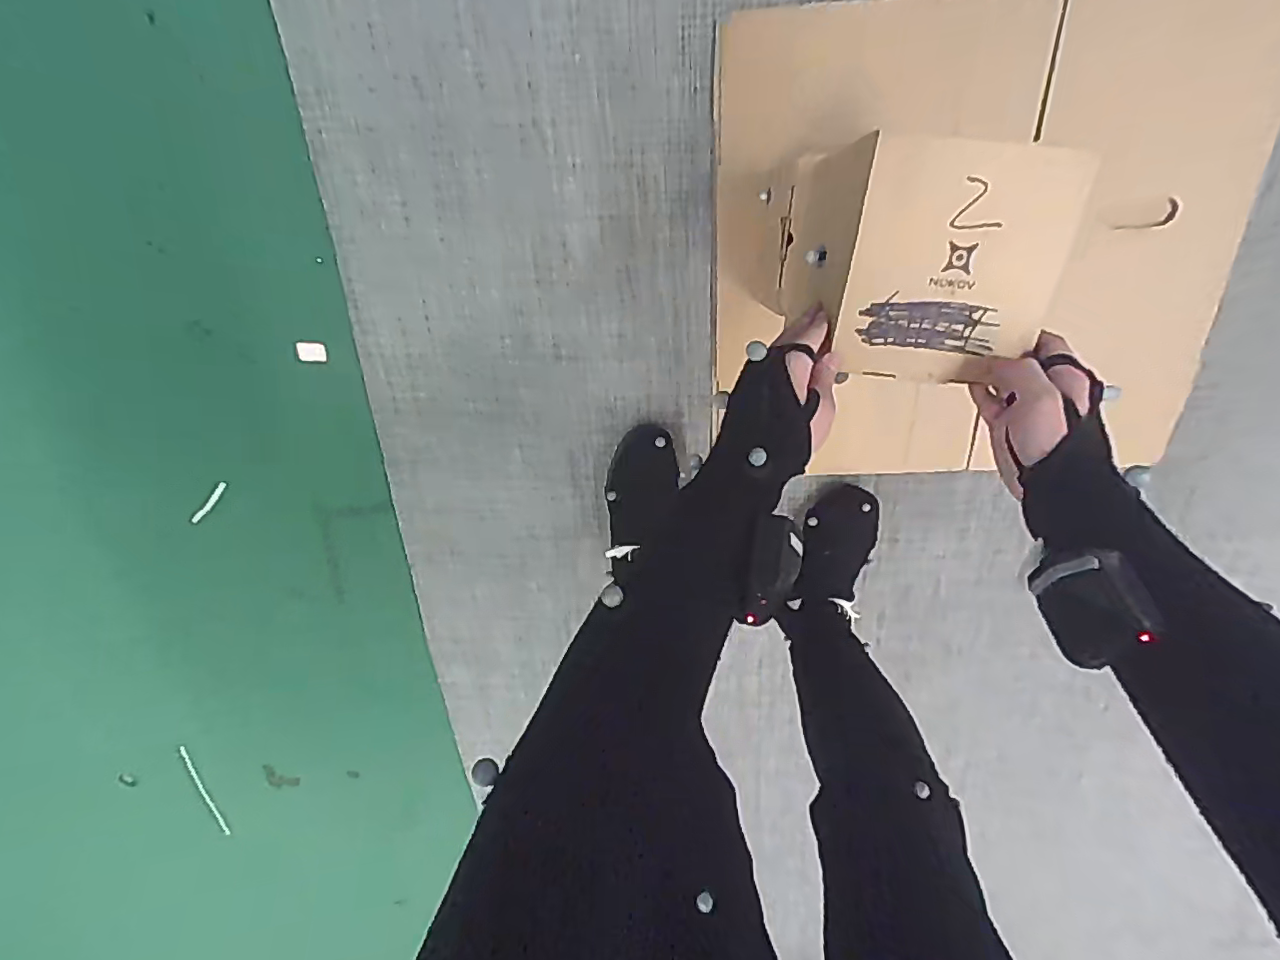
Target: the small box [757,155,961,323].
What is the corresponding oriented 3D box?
[{"bbox_3d":[0.247,-0.291,0.664,0.179,0.176,0.168,2,115,2],"label":"small box"}]
